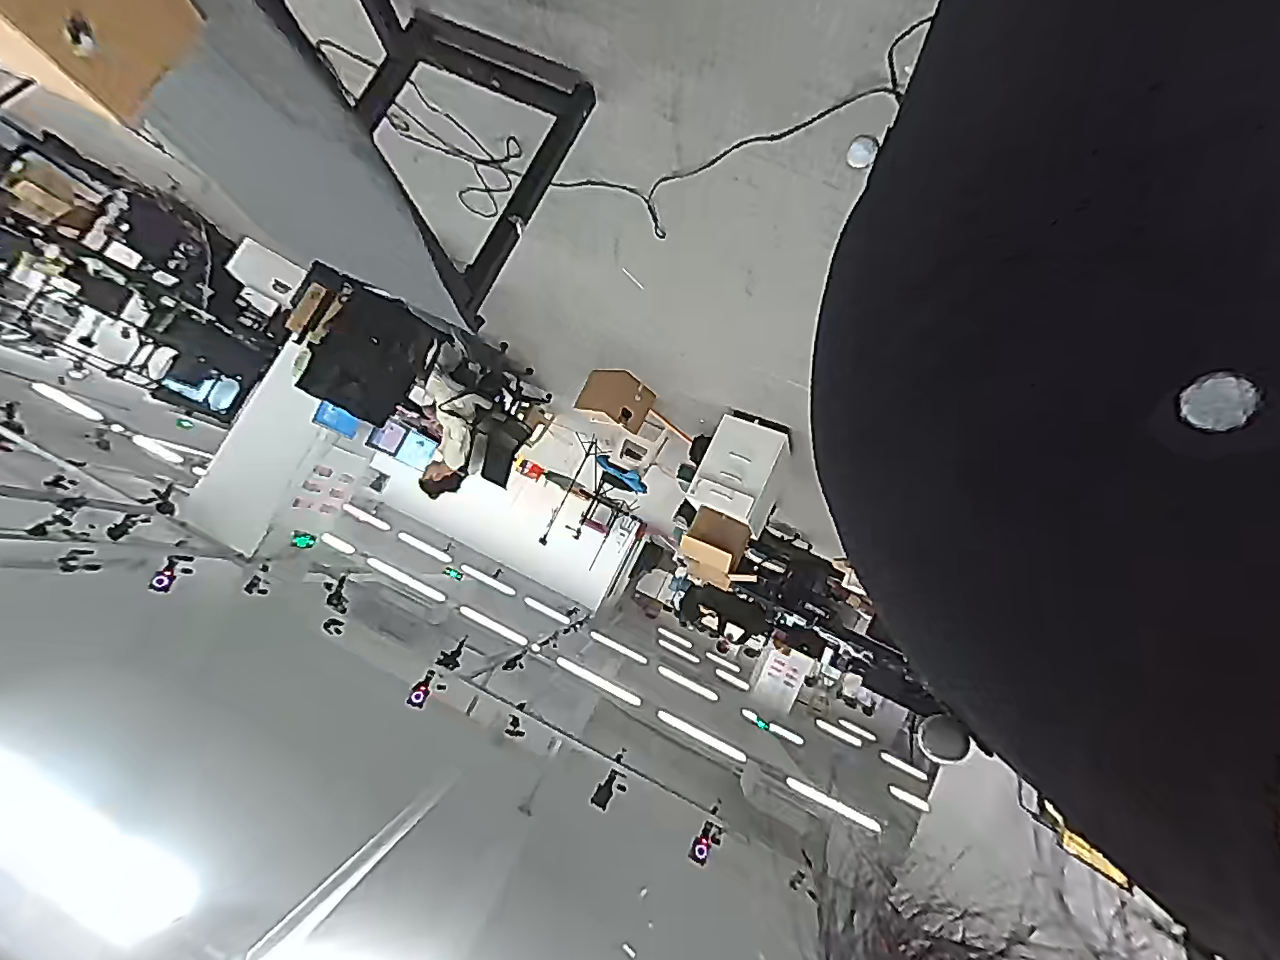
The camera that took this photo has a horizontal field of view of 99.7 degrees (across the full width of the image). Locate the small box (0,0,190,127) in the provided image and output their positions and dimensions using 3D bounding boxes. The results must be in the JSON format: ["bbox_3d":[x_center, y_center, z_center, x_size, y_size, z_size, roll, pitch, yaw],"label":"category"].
[{"bbox_3d":[-0.621,-0.519,0.542,0.168,0.176,0.179,26,170,1],"label":"small box"}]
